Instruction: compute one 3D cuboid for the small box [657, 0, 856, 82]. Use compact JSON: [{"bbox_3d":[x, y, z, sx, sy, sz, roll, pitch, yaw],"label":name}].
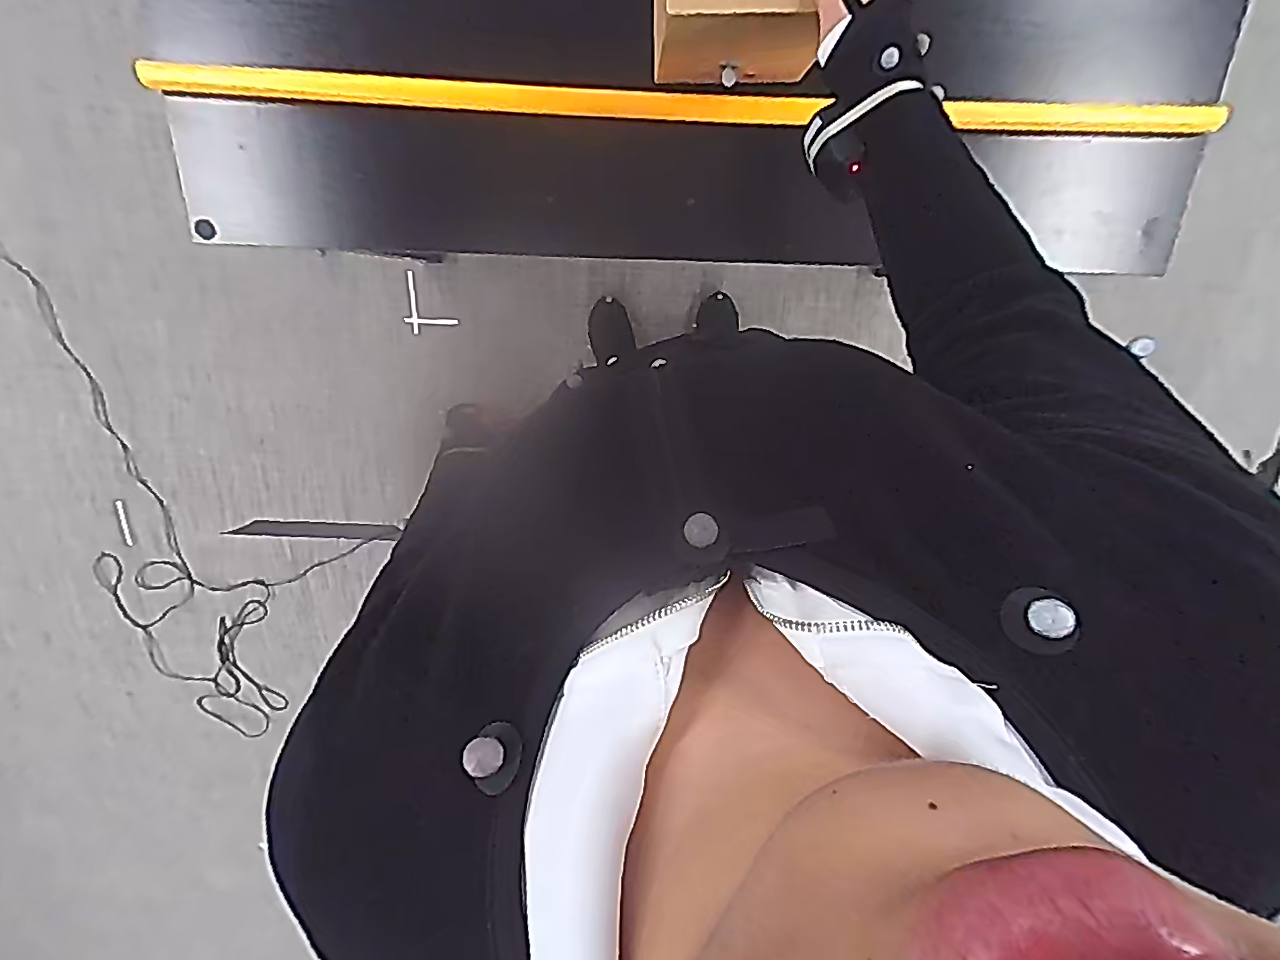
[{"bbox_3d":[0.102,-0.511,0.510,0.168,0.176,0.179,-1,110,-1],"label":"small box"}]
